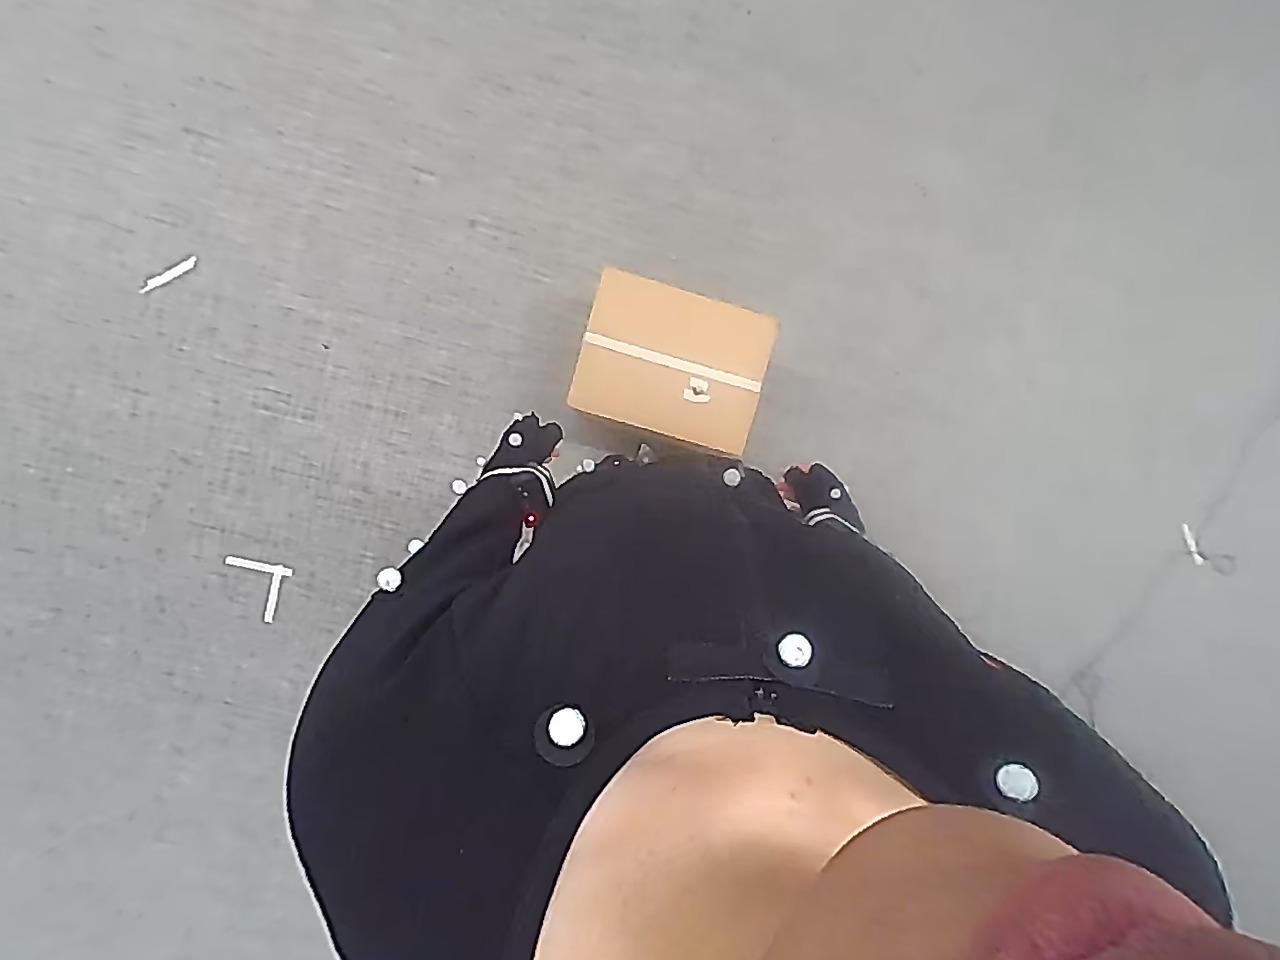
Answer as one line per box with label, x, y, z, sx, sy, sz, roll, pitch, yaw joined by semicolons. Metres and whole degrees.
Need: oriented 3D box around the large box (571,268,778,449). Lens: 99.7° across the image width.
large box;0.066;-0.273;1.331;0.408;0.320;0.320;15;93;-4
